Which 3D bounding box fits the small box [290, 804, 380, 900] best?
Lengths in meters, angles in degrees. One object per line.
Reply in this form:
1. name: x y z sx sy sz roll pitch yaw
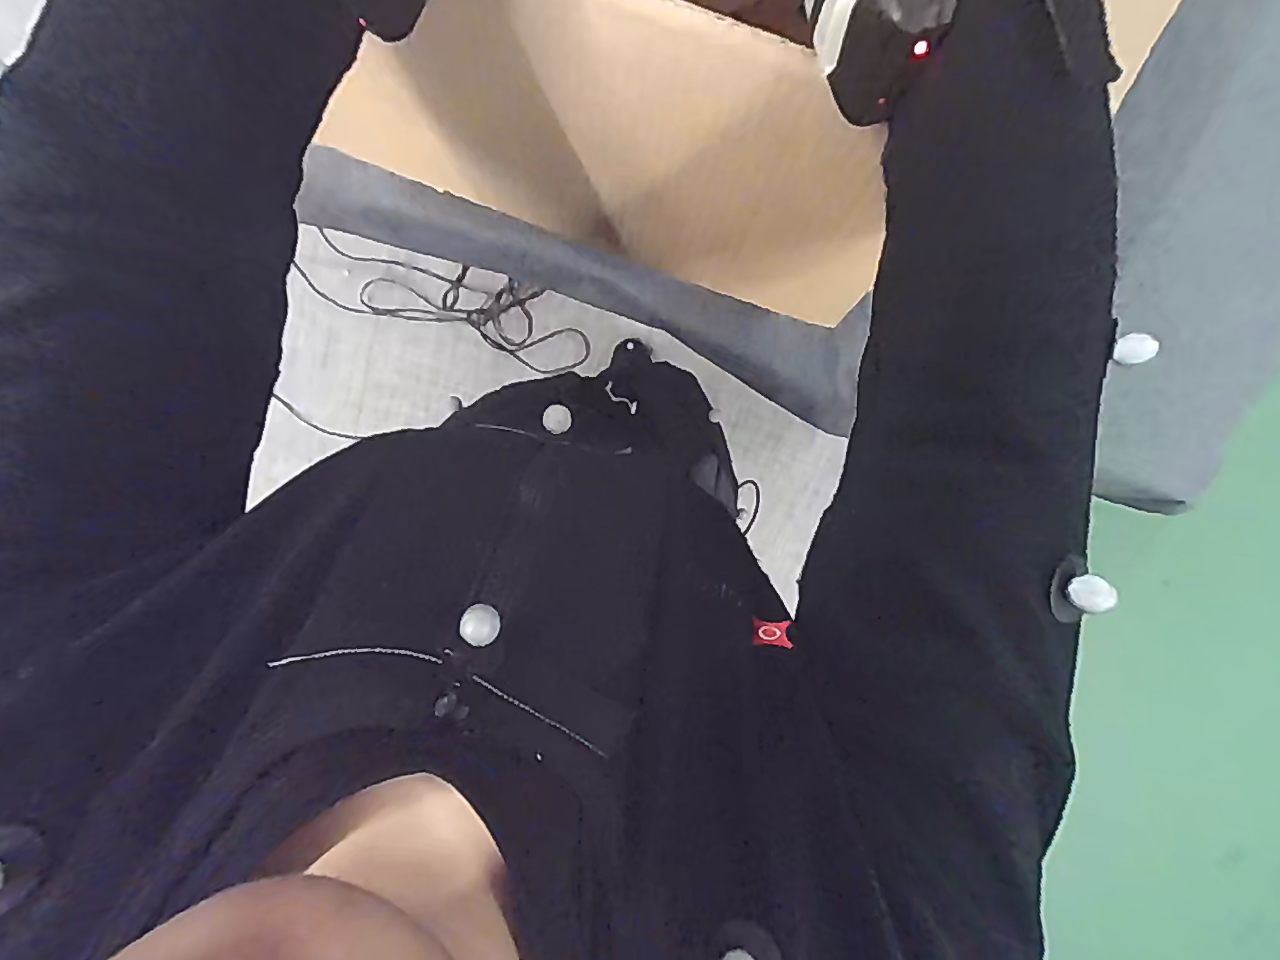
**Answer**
1. small box: -0.963 1.173 1.716 0.179 0.176 0.168 19 107 -3
